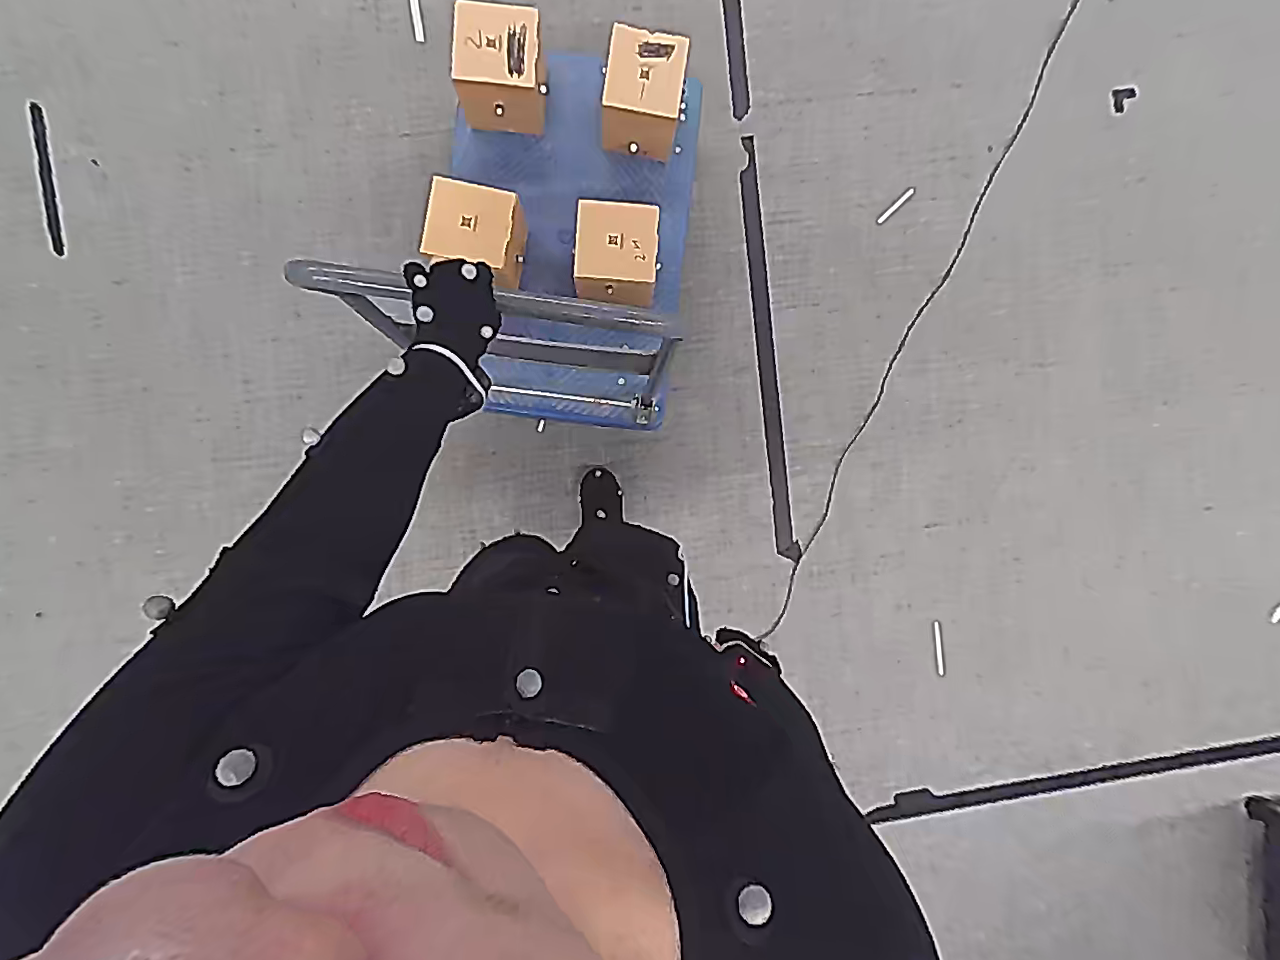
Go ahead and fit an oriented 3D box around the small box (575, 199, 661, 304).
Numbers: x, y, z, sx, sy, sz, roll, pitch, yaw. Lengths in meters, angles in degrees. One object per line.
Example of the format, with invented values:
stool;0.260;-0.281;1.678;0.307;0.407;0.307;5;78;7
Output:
small box;-0.050;-0.507;1.220;0.179;0.176;0.168;4;90;-3

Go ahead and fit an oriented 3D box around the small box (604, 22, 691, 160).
small box;0.011;-0.868;1.221;0.168;0.176;0.179;9;91;-4

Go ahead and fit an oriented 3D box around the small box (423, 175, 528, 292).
small box;-0.357;-0.537;1.203;0.179;0.176;0.168;10;90;-5
